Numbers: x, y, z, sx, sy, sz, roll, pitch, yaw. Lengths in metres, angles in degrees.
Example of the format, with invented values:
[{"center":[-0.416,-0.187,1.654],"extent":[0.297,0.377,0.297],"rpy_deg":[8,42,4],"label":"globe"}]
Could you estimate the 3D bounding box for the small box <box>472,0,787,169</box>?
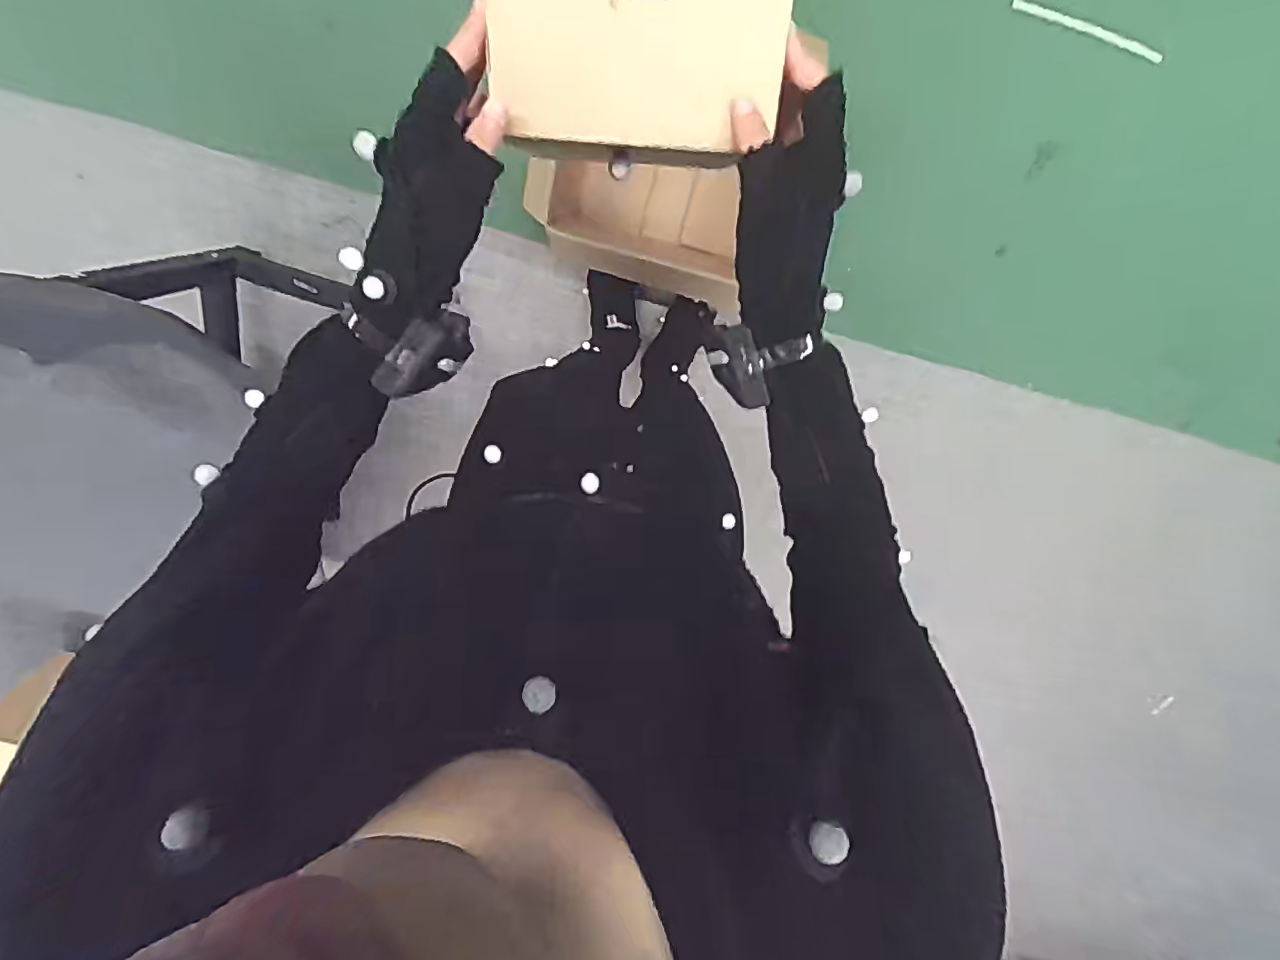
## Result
[{"center":[-0.007,-0.309,0.362],"extent":[0.179,0.176,0.168],"rpy_deg":[2,118,-2],"label":"small box"}]
